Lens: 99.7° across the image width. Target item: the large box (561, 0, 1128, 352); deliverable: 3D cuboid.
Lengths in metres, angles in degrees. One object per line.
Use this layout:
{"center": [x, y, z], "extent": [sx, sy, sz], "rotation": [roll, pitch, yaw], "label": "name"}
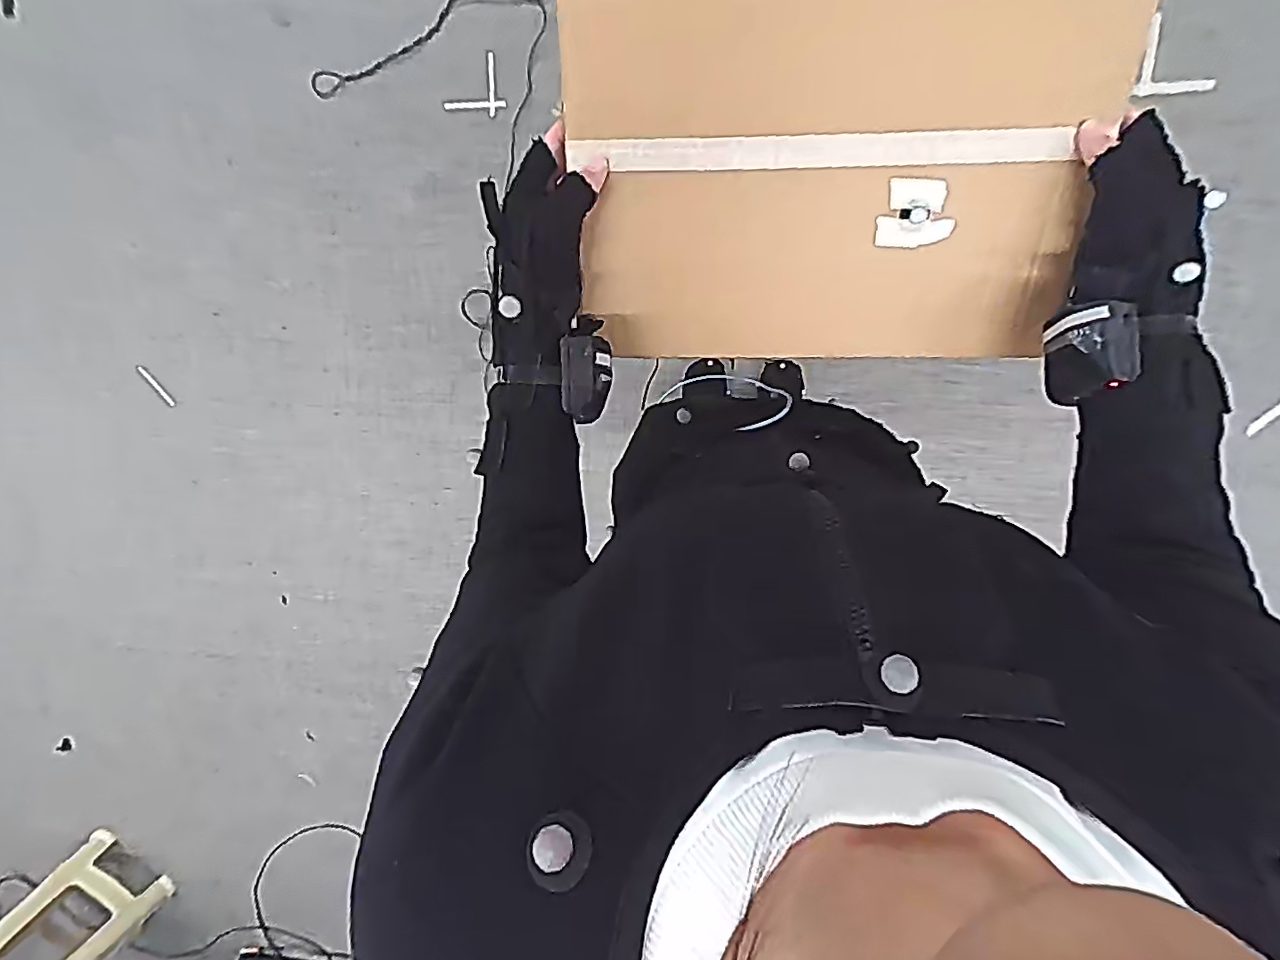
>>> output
{"center": [0.148, -0.320, 0.555], "extent": [0.408, 0.320, 0.320], "rotation": [0, 115, 2], "label": "large box"}
